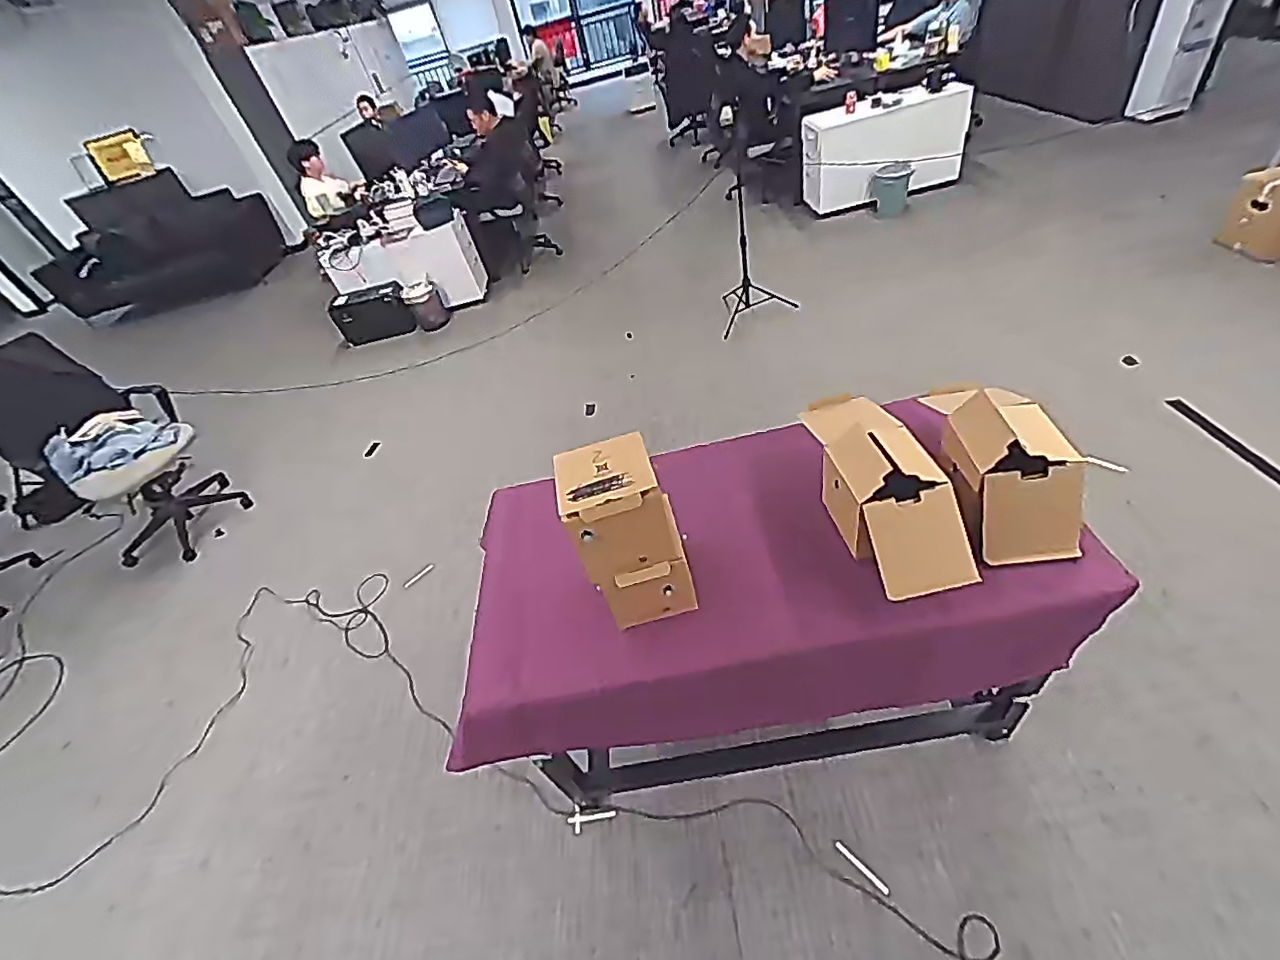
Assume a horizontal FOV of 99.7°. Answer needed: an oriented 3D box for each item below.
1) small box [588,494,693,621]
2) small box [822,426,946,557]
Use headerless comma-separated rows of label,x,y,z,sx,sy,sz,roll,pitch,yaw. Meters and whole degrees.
small box,0.002,0.162,1.081,0.168,0.176,0.179,-15,42,1
small box,0.470,0.024,1.075,0.168,0.176,0.179,-15,43,4
